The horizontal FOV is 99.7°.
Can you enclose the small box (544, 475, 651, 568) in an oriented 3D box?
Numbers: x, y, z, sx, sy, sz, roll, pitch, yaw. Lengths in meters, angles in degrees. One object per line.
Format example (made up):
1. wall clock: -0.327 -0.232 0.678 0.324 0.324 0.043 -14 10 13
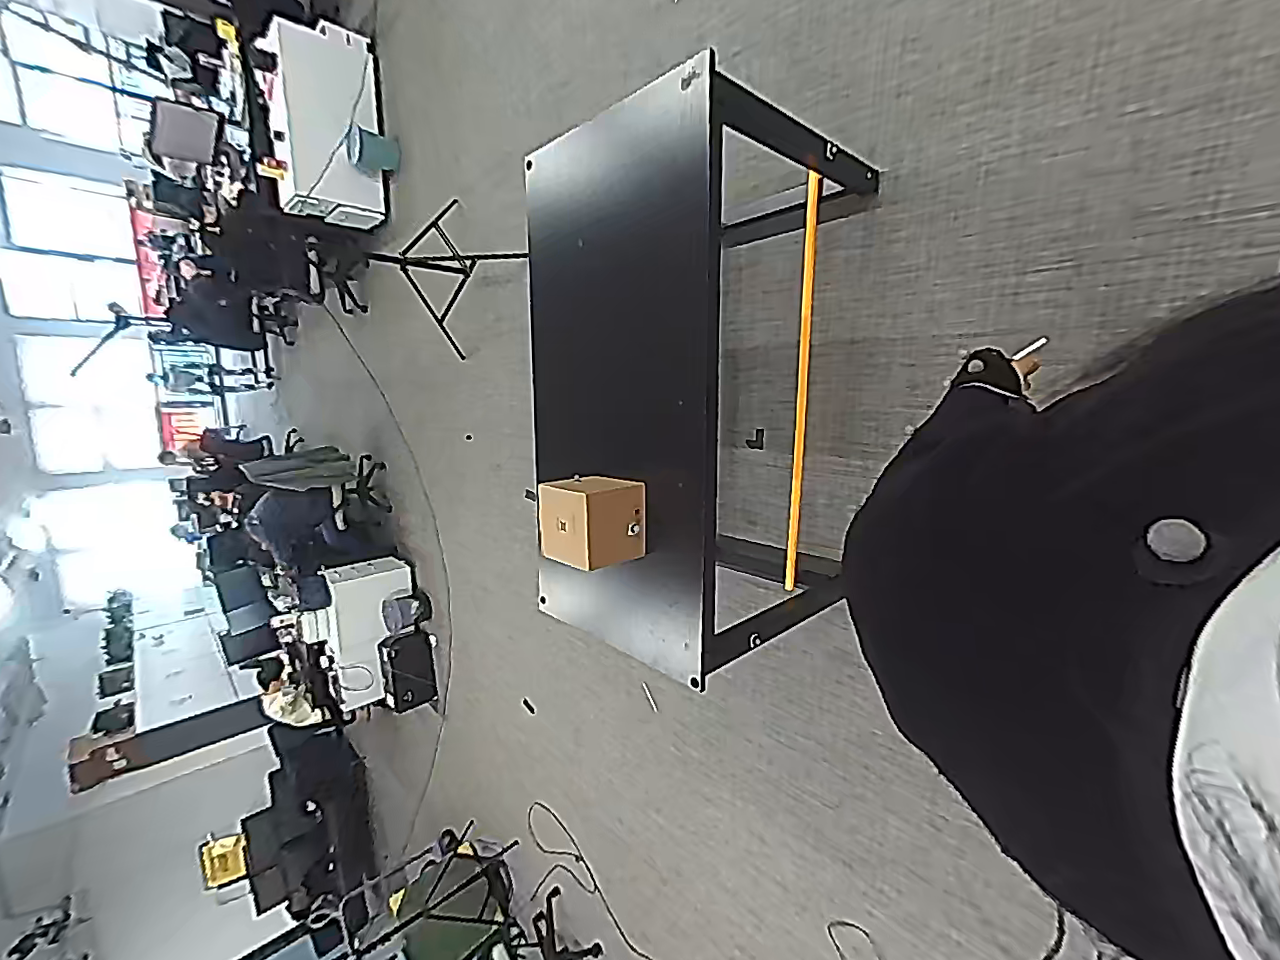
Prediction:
1. small box: -0.093 0.083 1.201 0.179 0.176 0.168 7 103 46
